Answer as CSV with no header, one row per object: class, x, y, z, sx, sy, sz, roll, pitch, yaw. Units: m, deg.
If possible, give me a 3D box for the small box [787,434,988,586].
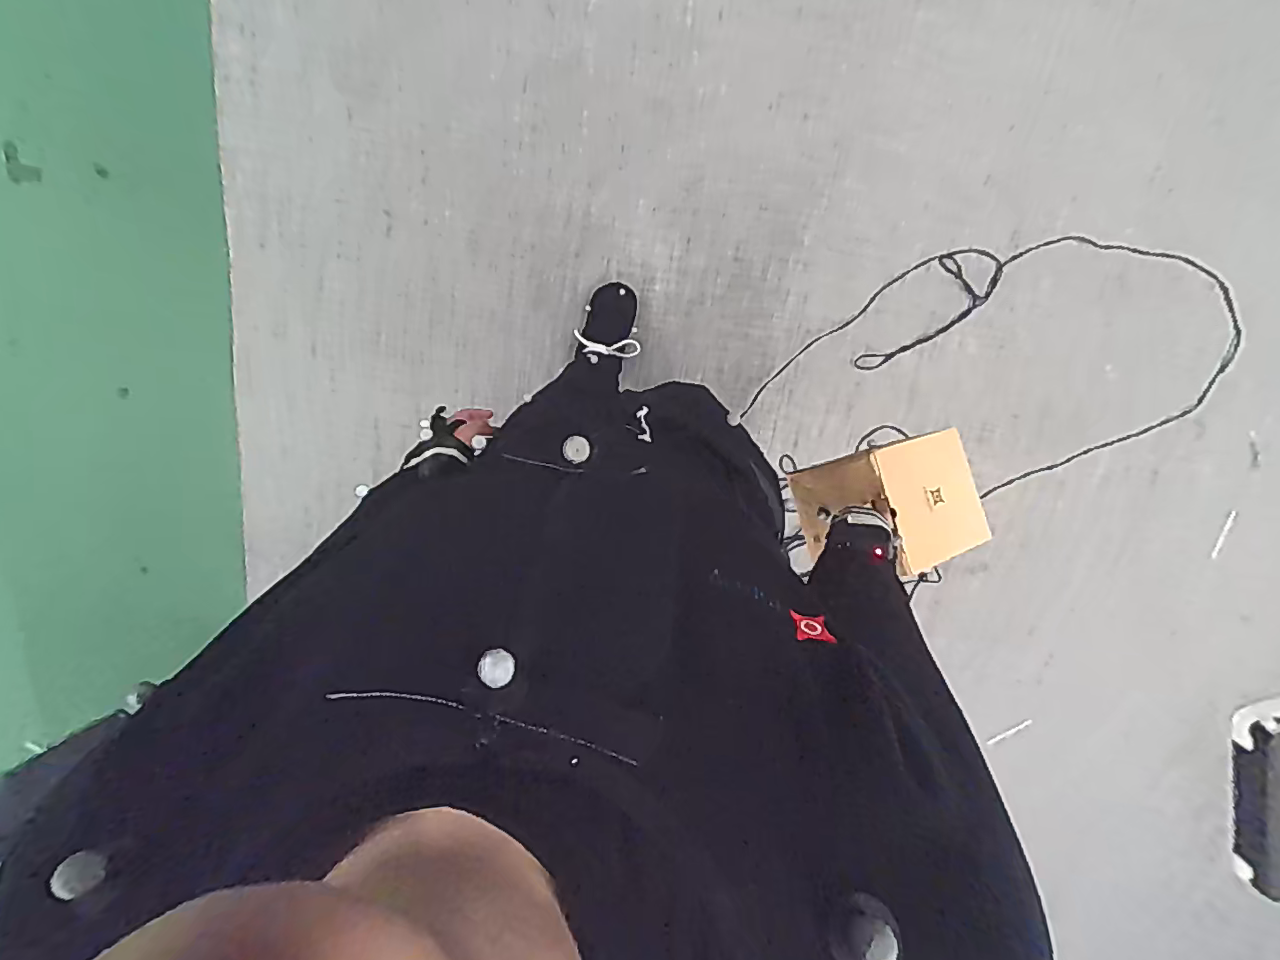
small box,0.345,0.045,0.770,0.179,0.176,0.168,-15,87,-27
